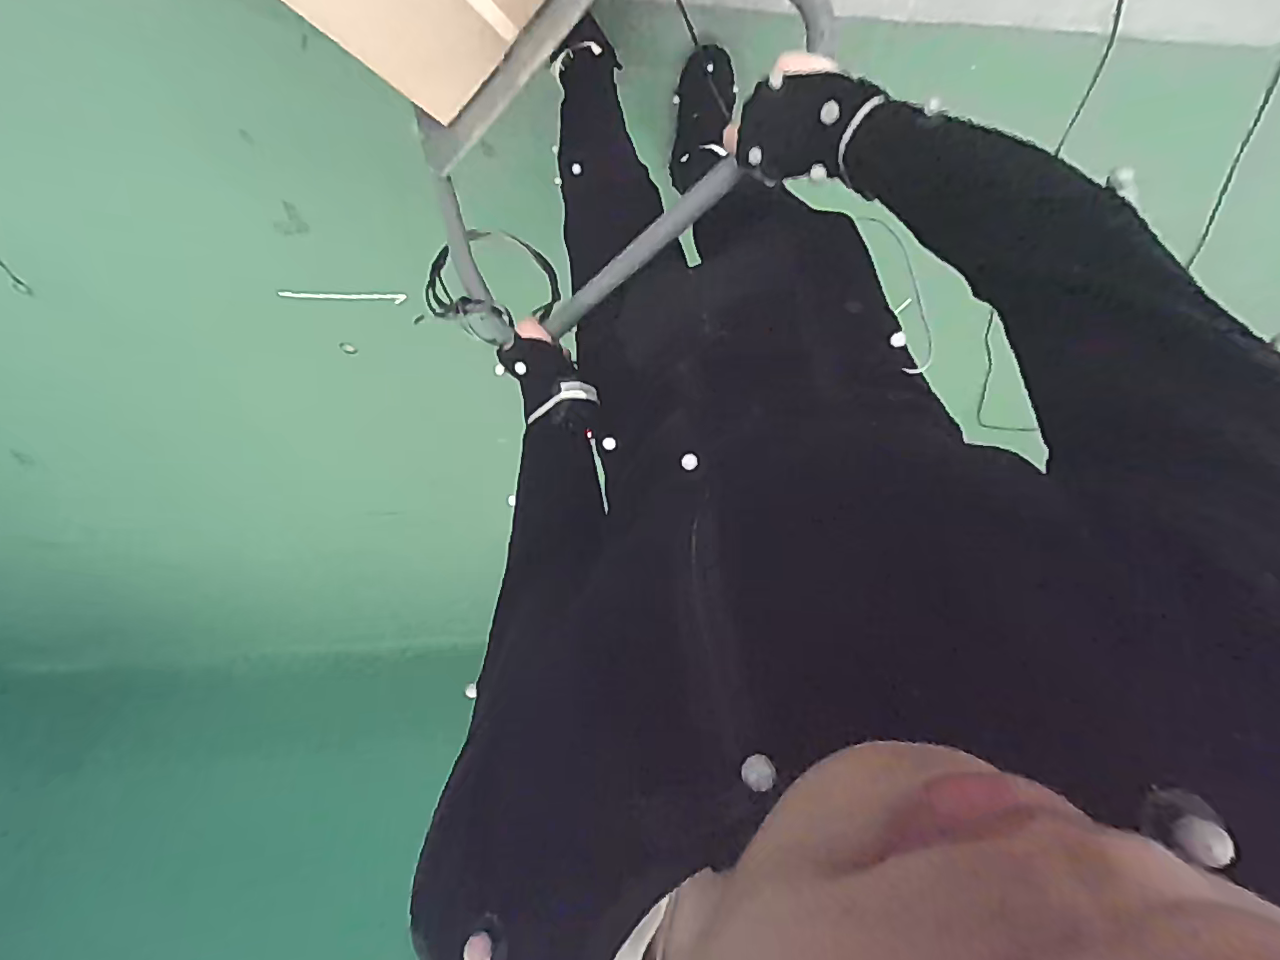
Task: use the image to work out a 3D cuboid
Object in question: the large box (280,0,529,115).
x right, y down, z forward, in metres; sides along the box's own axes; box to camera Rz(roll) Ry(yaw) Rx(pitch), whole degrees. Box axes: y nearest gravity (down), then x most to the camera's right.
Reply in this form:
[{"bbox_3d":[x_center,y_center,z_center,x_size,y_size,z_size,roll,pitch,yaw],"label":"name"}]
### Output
[{"bbox_3d":[-0.335,-0.746,0.603,0.320,0.320,0.408,-31,155,27],"label":"large box"}]
